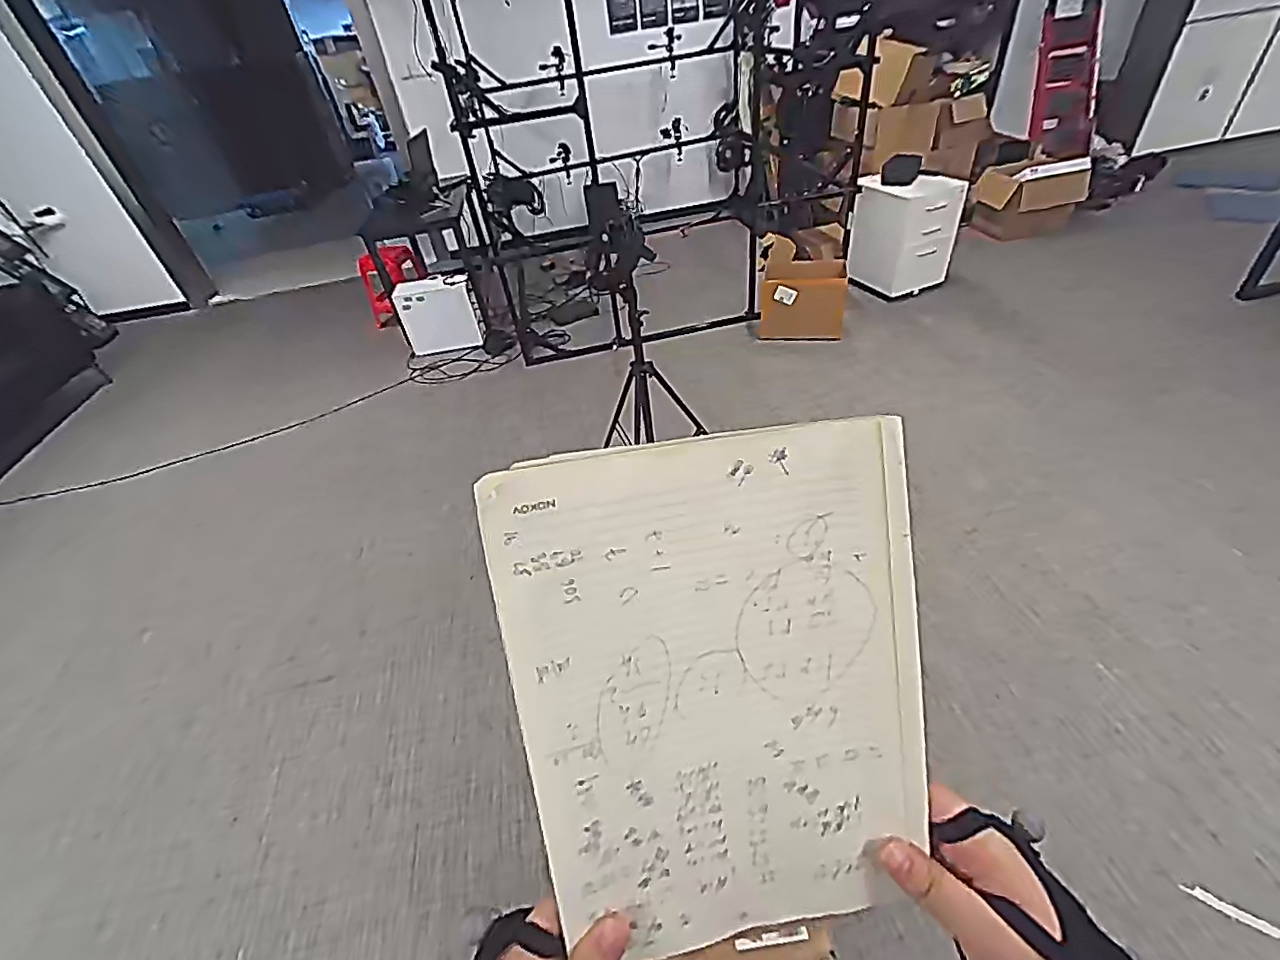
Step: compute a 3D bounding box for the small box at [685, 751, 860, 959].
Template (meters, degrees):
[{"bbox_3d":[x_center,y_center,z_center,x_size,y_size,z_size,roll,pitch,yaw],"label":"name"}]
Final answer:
[{"bbox_3d":[0.146,0.467,0.675,0.168,0.176,0.179,-6,42,-1],"label":"small box"}]
